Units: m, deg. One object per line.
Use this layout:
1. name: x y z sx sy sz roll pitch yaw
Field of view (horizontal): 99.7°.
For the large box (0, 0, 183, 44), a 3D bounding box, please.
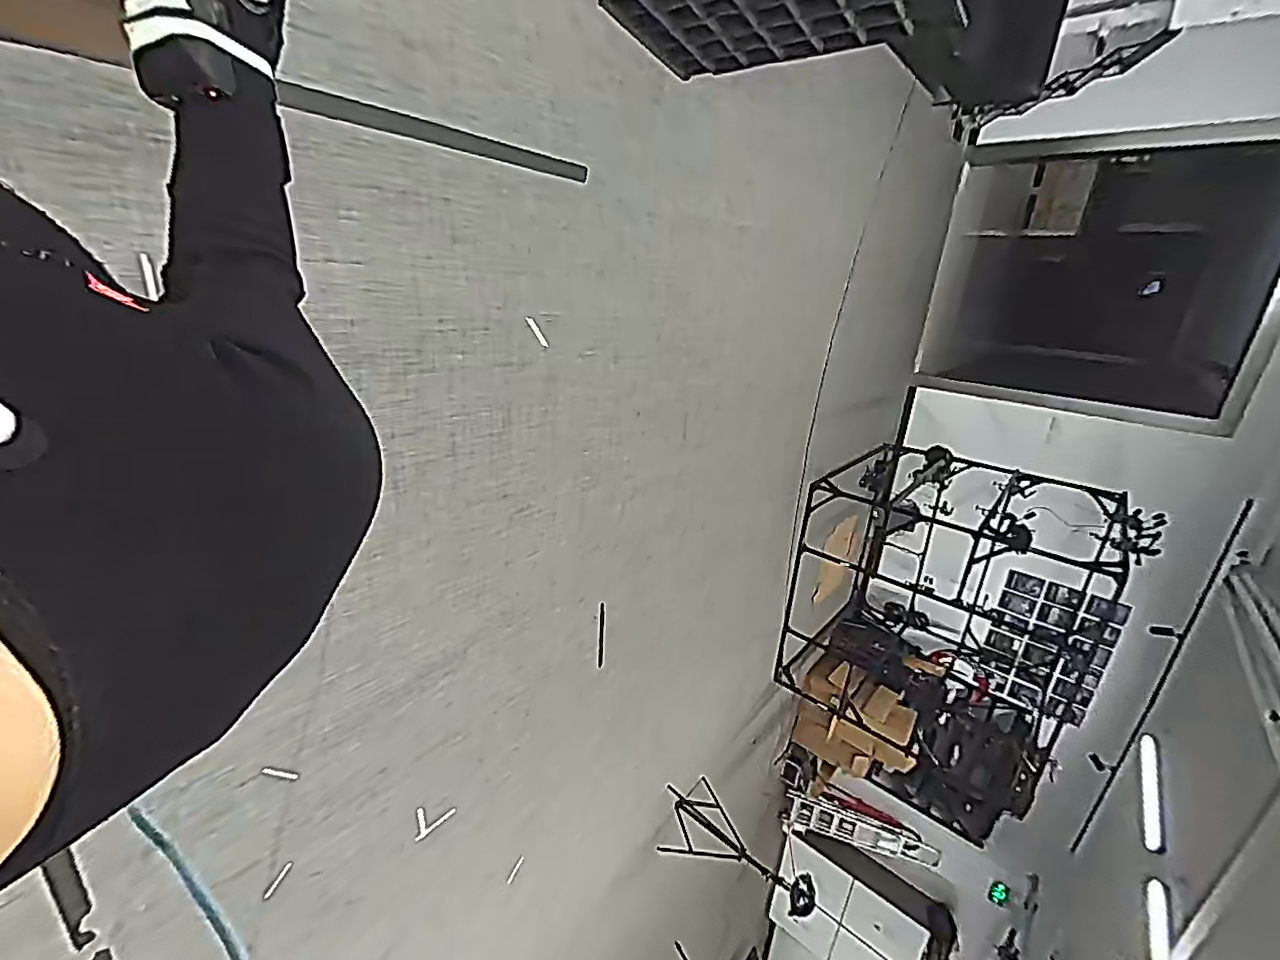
1. large box: -0.544 -0.488 0.267 0.408 0.320 0.320 -17 125 -49
